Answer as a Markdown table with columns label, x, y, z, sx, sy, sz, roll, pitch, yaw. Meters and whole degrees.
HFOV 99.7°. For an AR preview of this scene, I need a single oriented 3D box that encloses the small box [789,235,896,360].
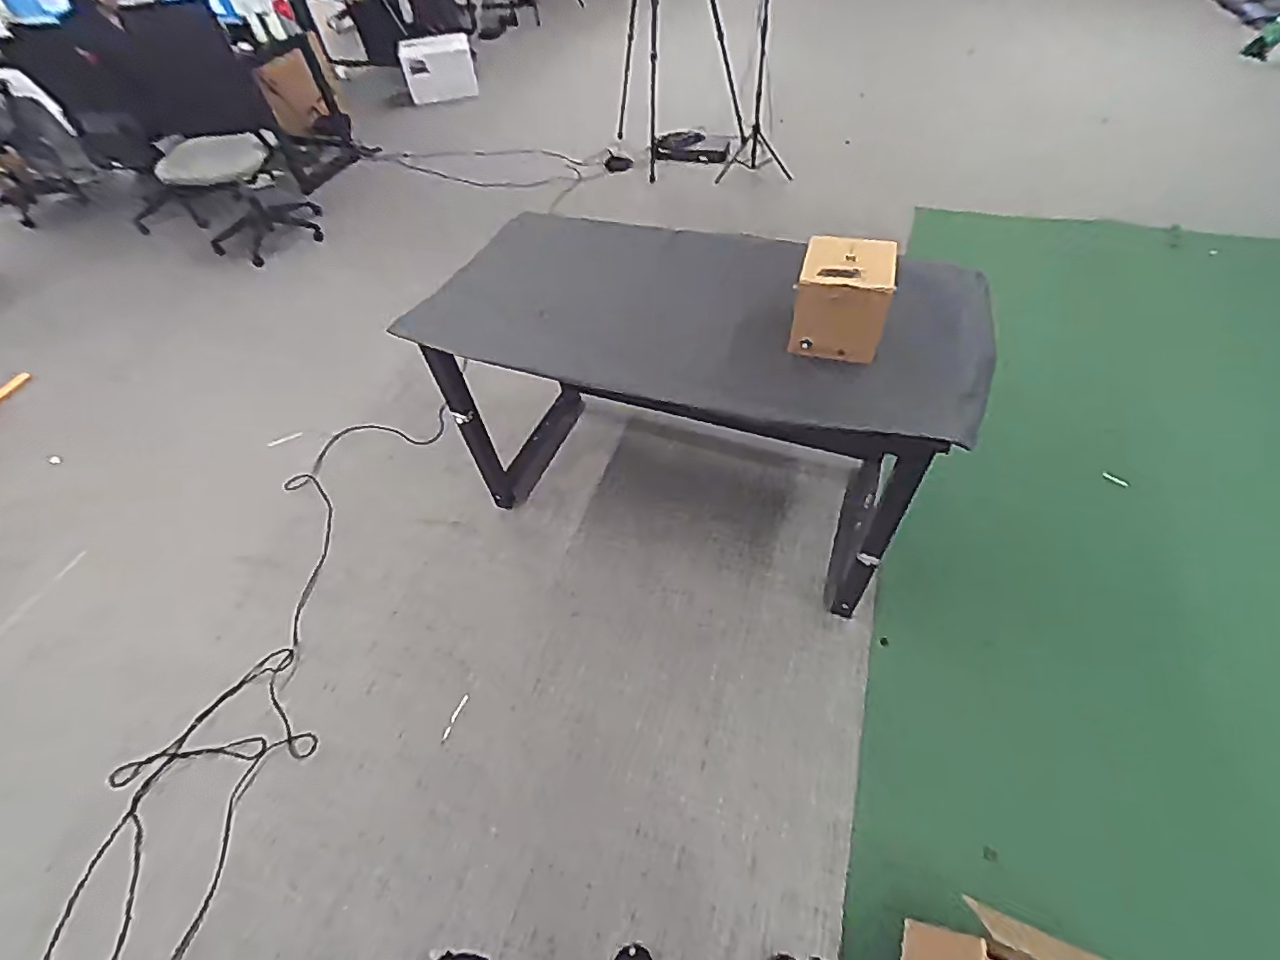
| label | x | y | z | sx | sy | sz | roll | pitch | yaw |
| --- | --- | --- | --- | --- | --- | --- | --- | --- | --- |
| small box | 0.399 | -0.363 | 1.082 | 0.168 | 0.176 | 0.179 | 12 | 52 | 15 |
